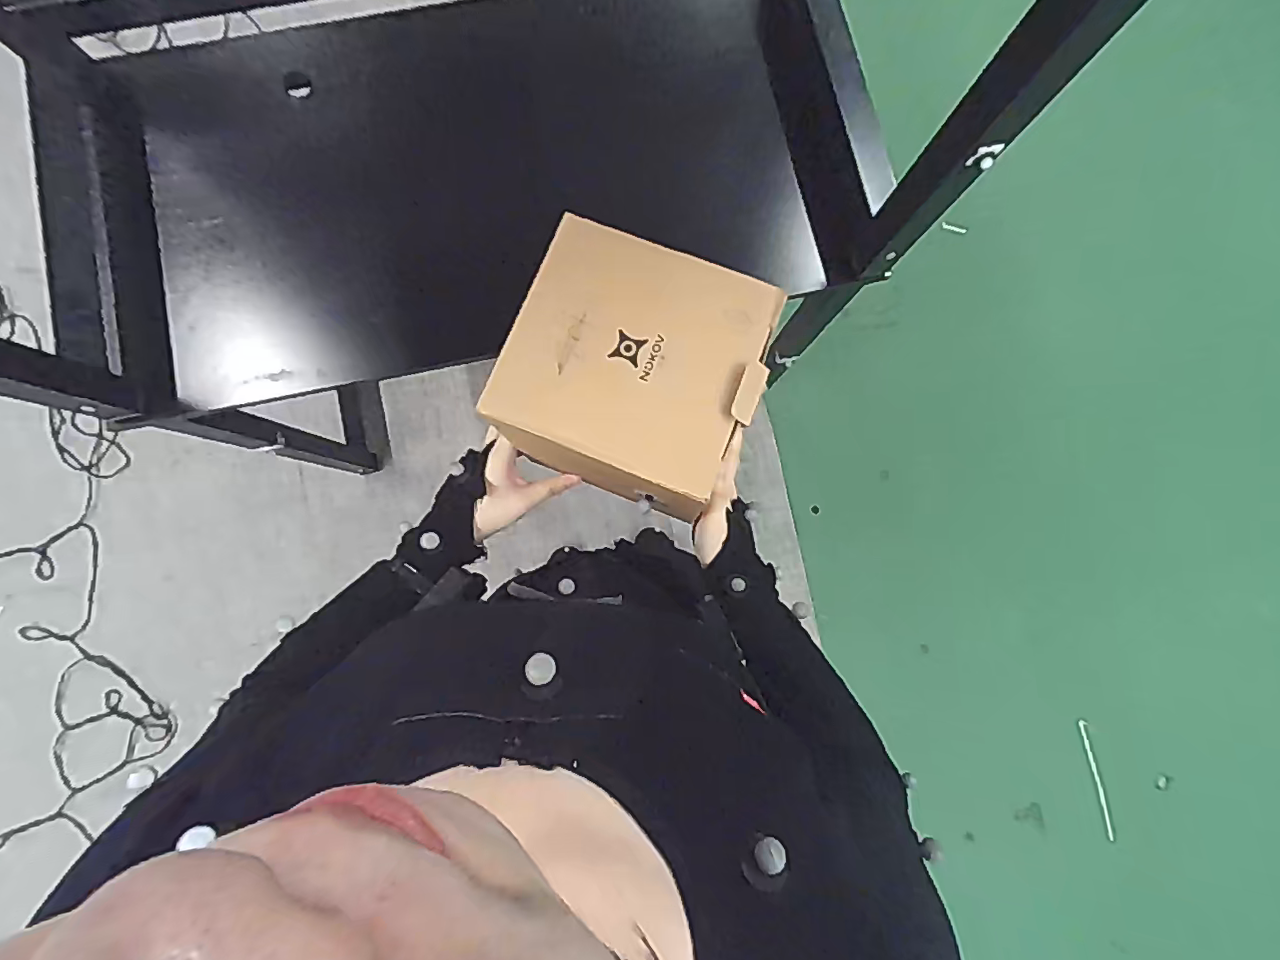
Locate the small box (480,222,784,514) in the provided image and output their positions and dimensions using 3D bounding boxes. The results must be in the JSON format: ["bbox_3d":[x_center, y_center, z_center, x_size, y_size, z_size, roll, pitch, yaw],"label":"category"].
[{"bbox_3d":[-0.003,-0.077,0.465,0.179,0.176,0.168,21,81,5],"label":"small box"}]
